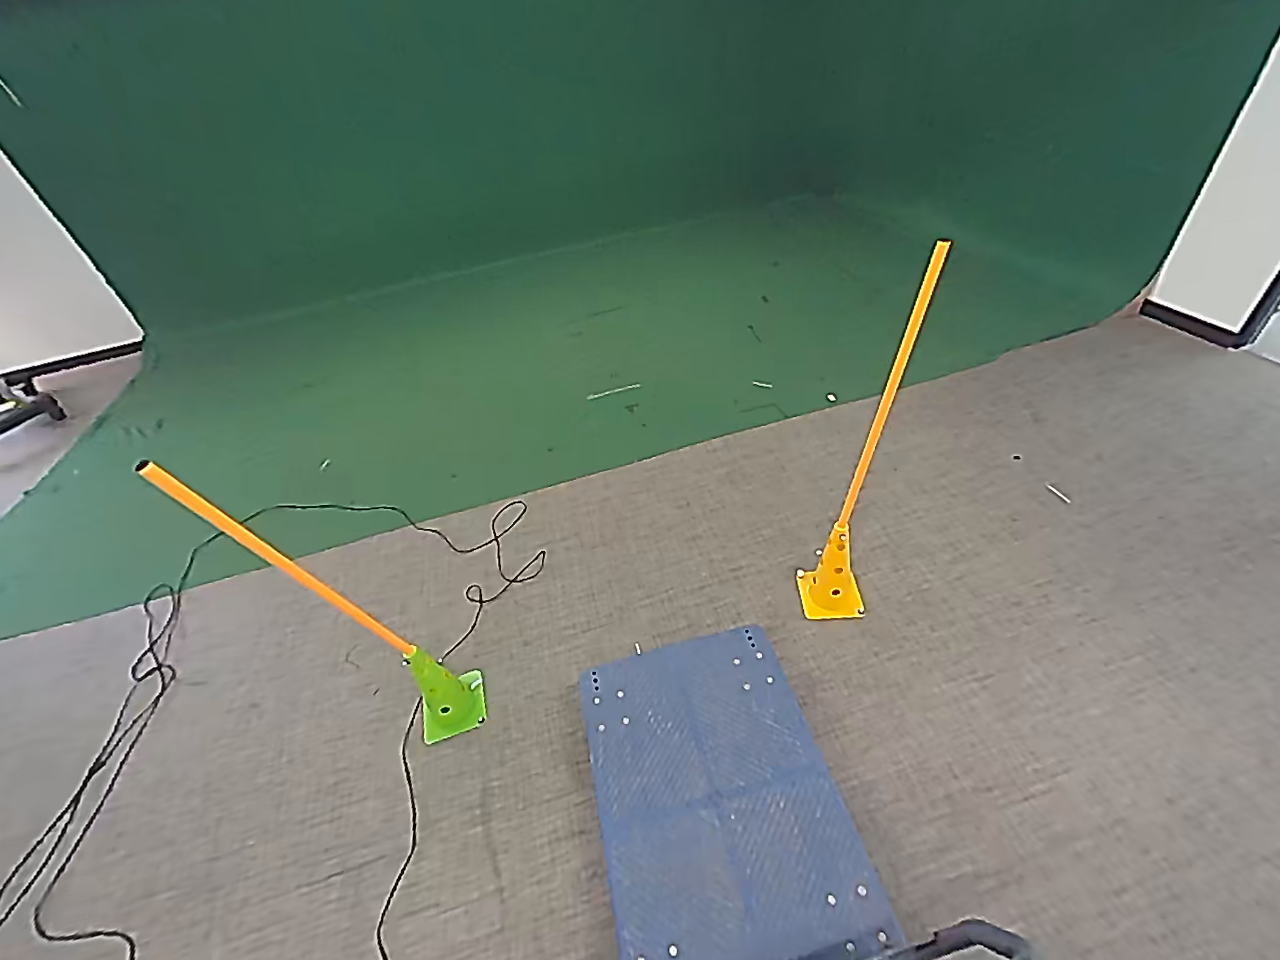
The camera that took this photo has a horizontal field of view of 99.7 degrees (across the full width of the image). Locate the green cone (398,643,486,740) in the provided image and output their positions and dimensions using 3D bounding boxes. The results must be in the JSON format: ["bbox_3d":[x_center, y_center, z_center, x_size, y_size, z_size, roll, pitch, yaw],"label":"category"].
[{"bbox_3d":[-0.641,0.609,1.671,0.202,0.368,0.200,-20,42,-8],"label":"green cone"}]
